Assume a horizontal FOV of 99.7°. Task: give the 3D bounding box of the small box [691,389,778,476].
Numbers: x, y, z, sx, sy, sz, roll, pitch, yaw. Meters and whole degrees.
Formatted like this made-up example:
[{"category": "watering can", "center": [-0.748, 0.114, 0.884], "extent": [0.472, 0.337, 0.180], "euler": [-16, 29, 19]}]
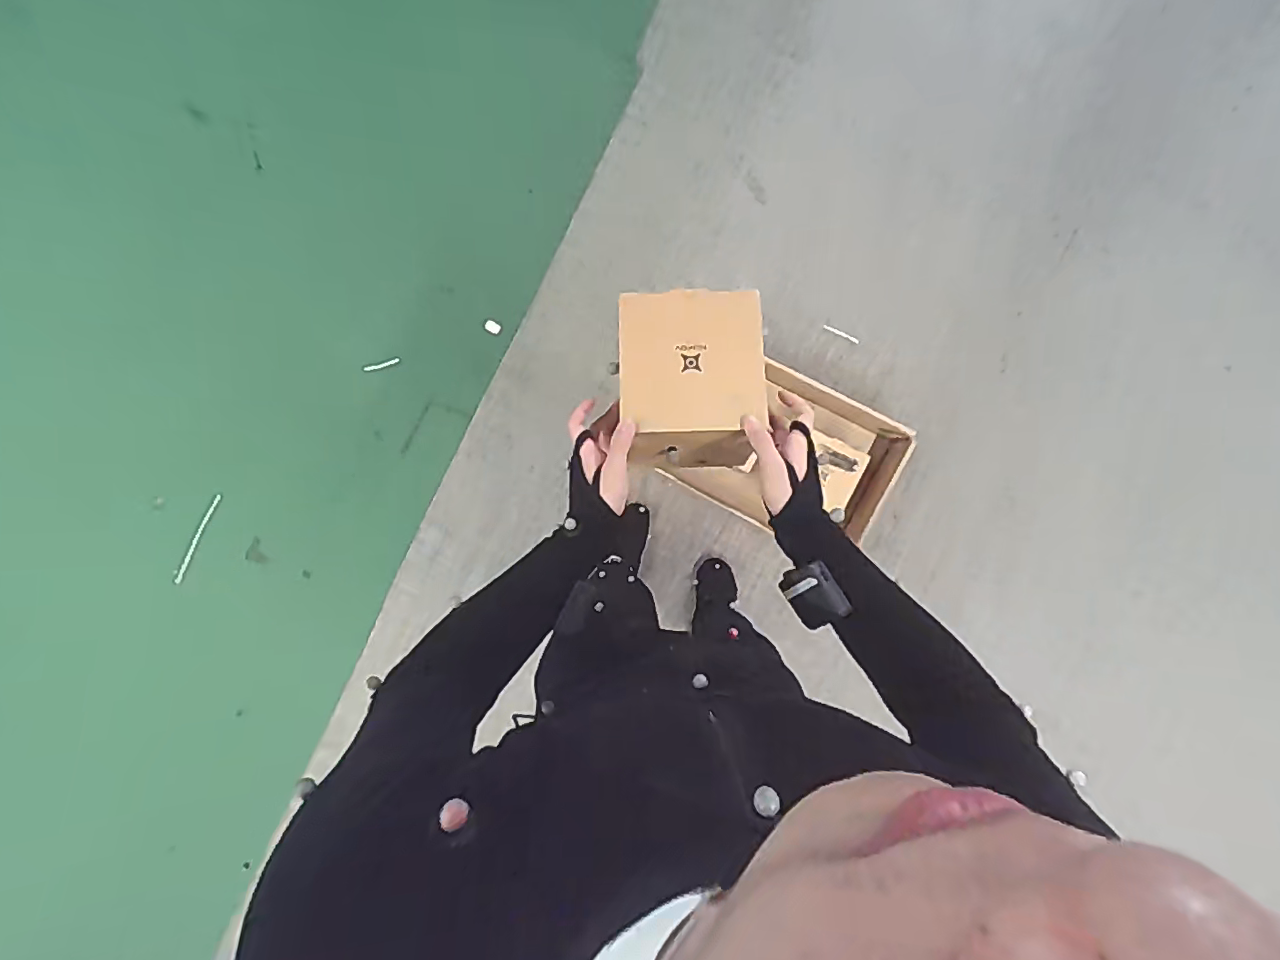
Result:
[{"category": "small box", "center": [0.247, -0.120, 1.450], "extent": [0.168, 0.176, 0.179], "euler": [27, 91, 3]}]
